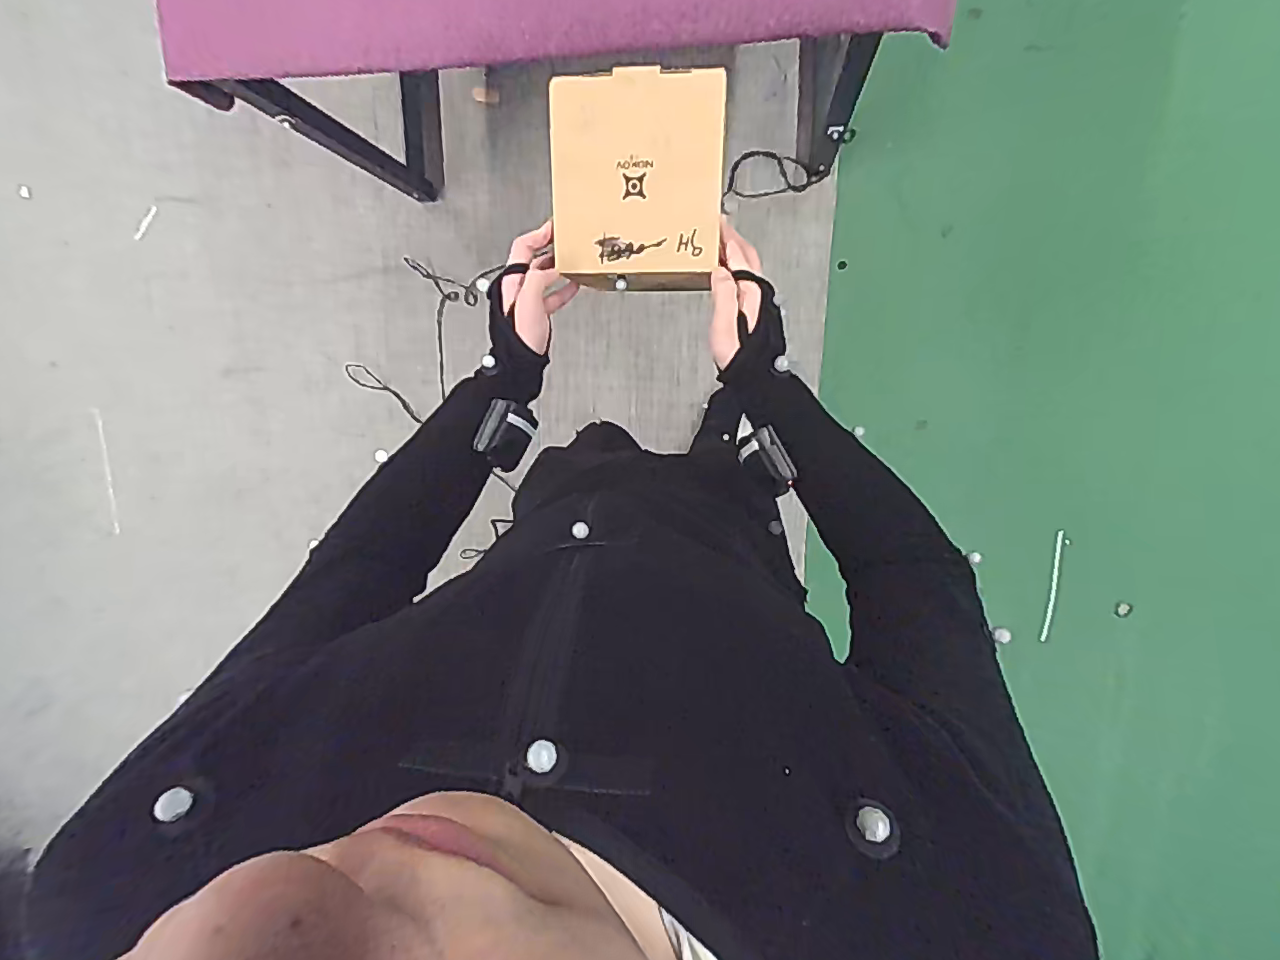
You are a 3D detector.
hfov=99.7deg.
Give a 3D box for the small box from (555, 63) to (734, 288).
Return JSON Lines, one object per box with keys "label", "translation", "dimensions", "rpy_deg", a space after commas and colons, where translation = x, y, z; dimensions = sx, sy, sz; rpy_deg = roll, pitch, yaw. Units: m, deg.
{"label": "small box", "translation": [0.009, -0.309, 0.584], "dimensions": [0.168, 0.176, 0.179], "rpy_deg": [3, 105, 7]}
